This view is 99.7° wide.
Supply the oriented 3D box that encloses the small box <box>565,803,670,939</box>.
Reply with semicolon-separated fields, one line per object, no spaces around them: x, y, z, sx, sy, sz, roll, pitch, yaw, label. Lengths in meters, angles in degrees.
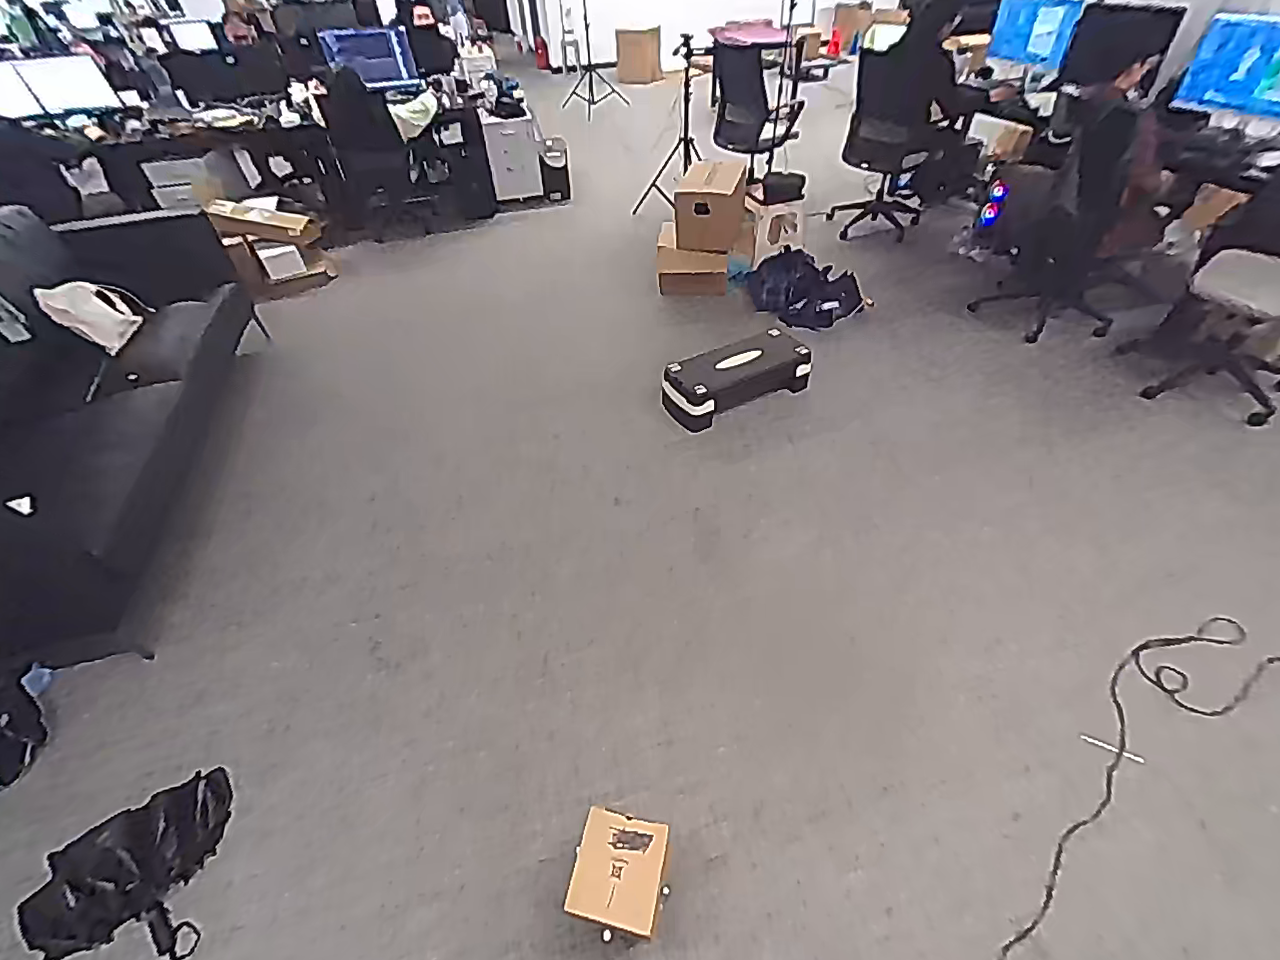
-0.036;0.788;1.088;0.168;0.176;0.179;7;48;12;small box
